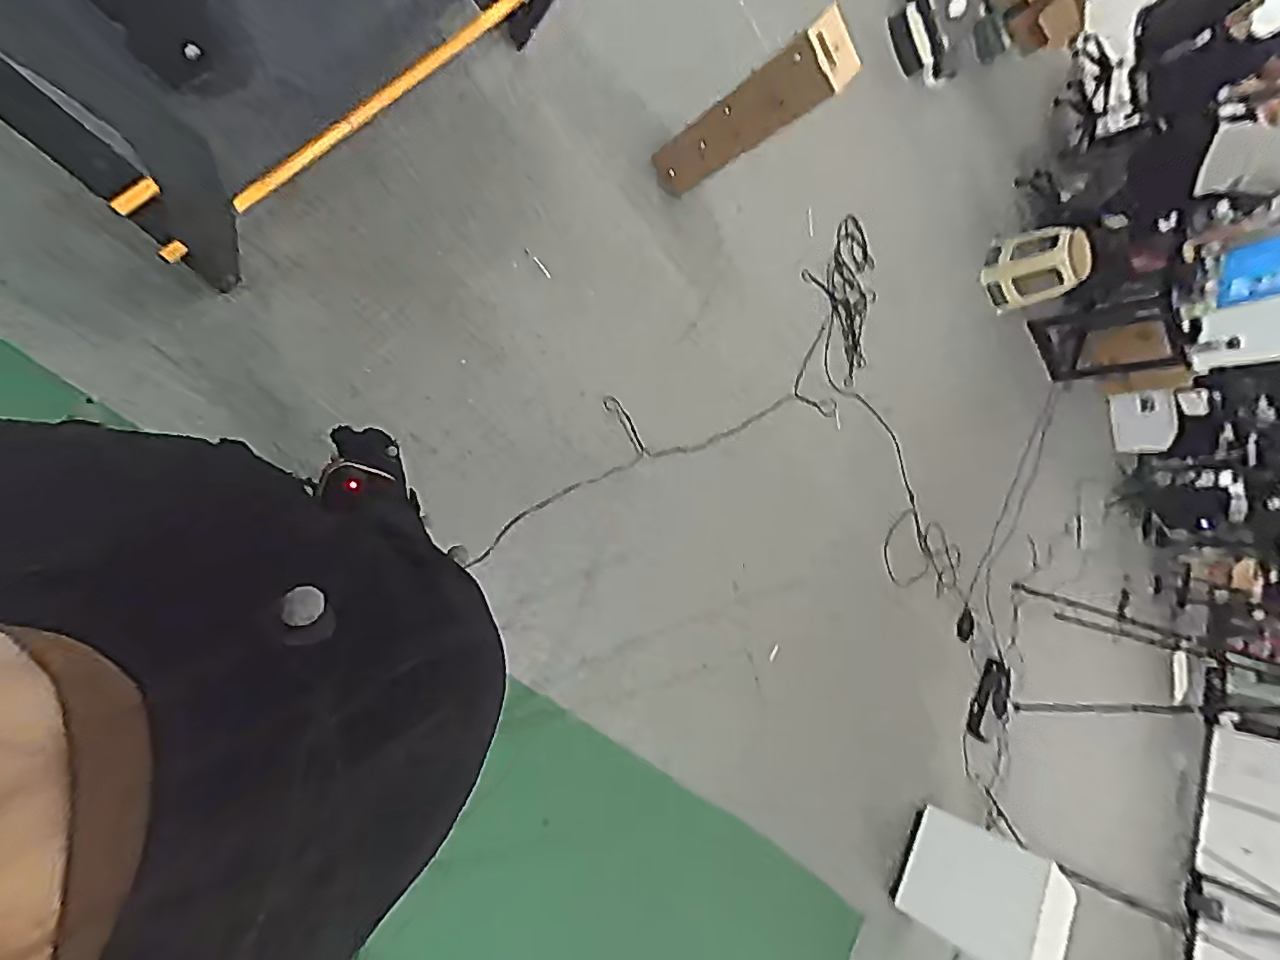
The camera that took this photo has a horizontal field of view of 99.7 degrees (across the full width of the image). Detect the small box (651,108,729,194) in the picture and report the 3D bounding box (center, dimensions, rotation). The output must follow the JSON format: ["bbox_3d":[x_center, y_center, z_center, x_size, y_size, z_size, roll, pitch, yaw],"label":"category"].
[{"bbox_3d":[0.171,-1.142,1.884,0.168,0.176,0.179,51,64,-24],"label":"small box"}]

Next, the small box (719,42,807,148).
[{"bbox_3d":[0.361,-1.143,1.618,0.168,0.176,0.179,49,64,-26],"label":"small box"}]
